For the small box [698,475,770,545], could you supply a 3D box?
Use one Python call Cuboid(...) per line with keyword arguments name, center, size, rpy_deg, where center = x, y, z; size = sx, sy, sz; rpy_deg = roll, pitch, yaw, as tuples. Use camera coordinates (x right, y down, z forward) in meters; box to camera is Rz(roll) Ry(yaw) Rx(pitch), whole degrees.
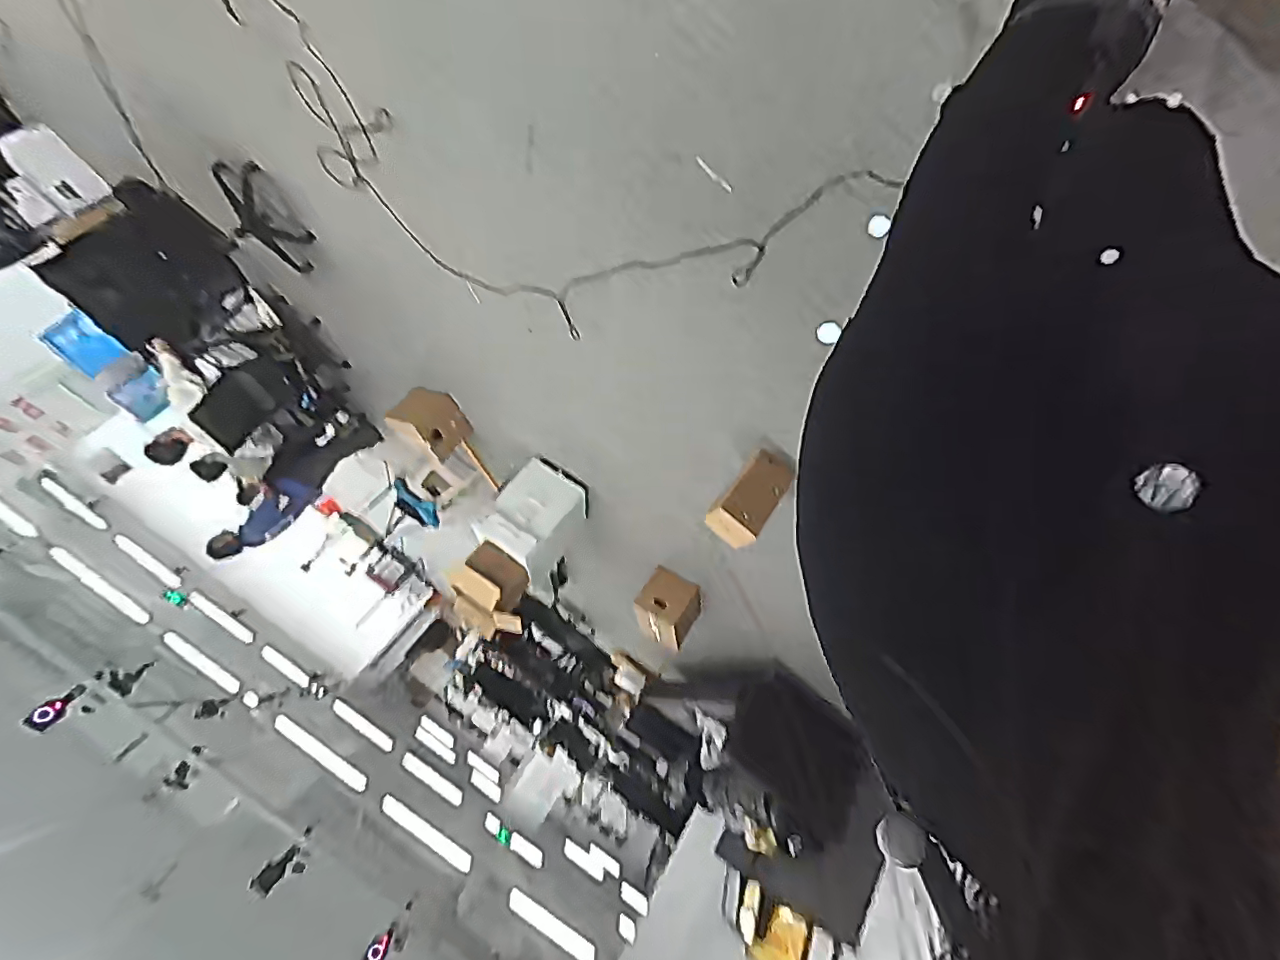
Cuboid(name="small box", center=(0.356, 0.111, 2.029), size=(0.179, 0.176, 0.168), rpy_deg=(40, 152, -2))
